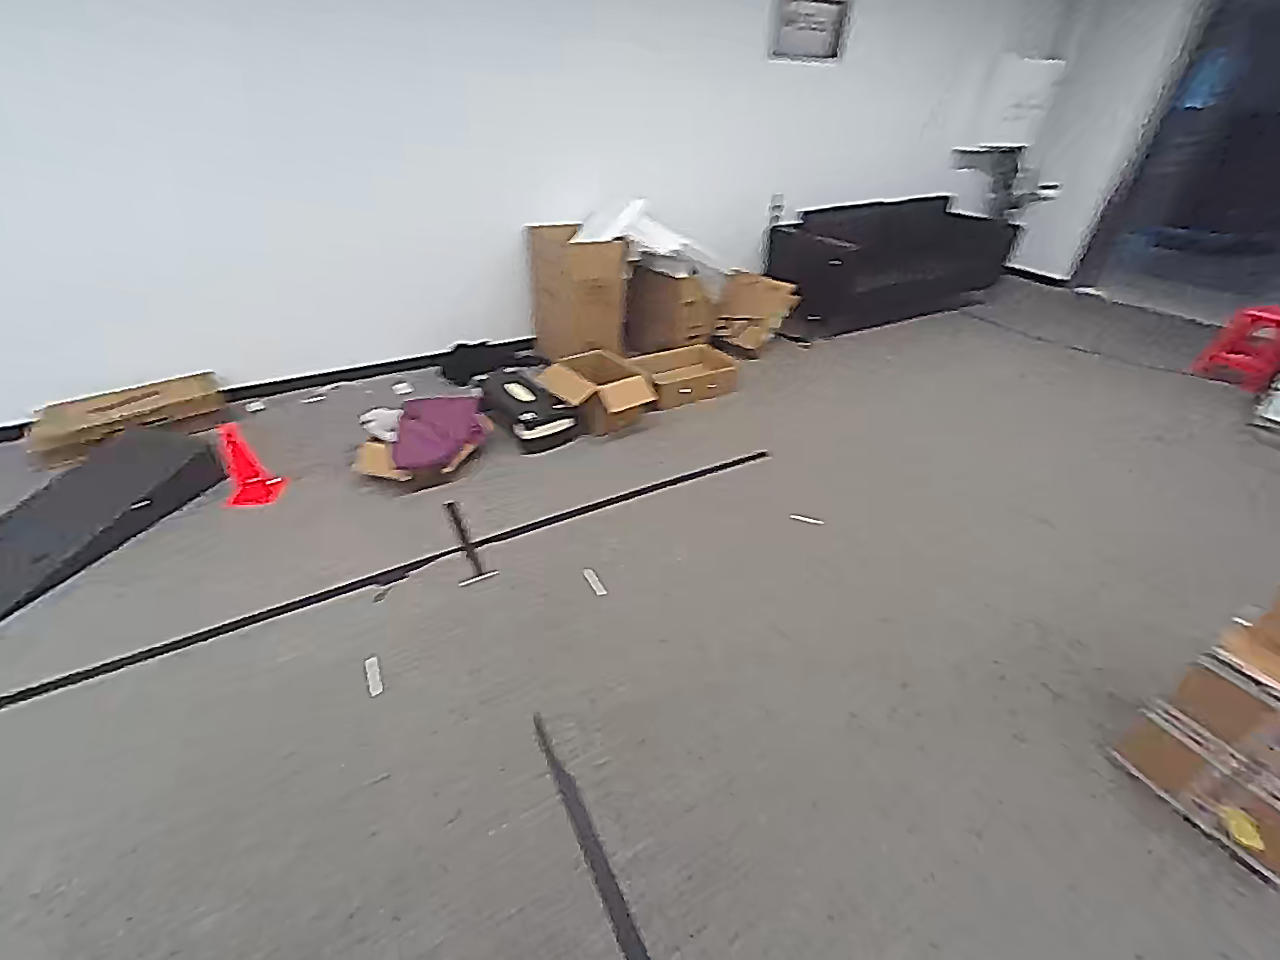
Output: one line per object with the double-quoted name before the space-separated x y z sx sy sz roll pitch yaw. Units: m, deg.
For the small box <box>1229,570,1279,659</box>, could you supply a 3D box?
"small box" 1.593 0.325 1.299 0.179 0.176 0.168 -19 38 -23
